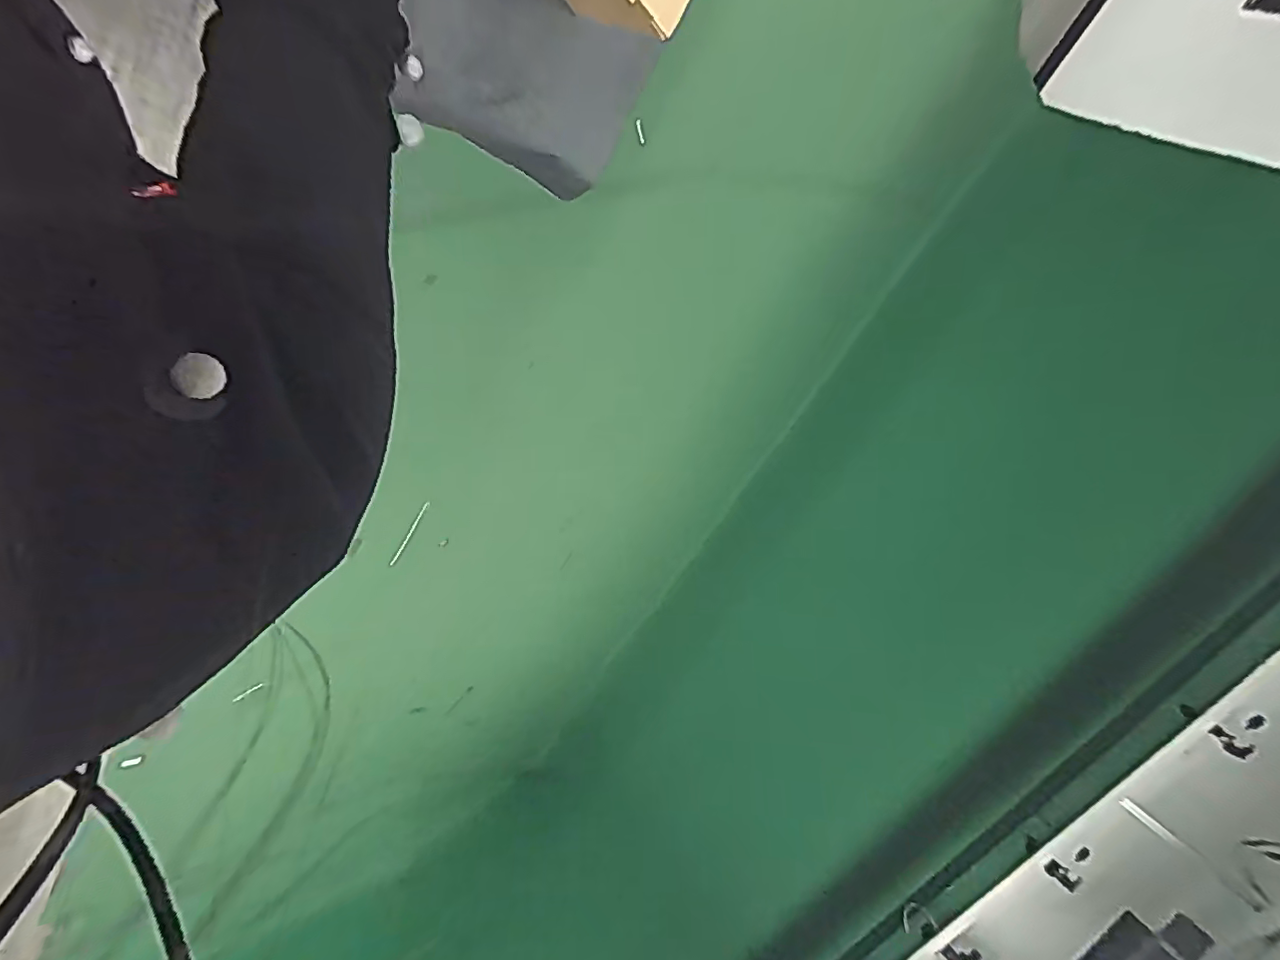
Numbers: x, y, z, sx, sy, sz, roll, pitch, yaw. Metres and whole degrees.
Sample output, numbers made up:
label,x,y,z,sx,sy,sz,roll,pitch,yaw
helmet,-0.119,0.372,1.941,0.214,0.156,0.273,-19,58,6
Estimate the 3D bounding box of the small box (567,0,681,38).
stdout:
label,x,y,z,sx,sy,sz,roll,pitch,yaw
small box,-0.031,-0.614,0.552,0.168,0.176,0.179,6,121,-56
